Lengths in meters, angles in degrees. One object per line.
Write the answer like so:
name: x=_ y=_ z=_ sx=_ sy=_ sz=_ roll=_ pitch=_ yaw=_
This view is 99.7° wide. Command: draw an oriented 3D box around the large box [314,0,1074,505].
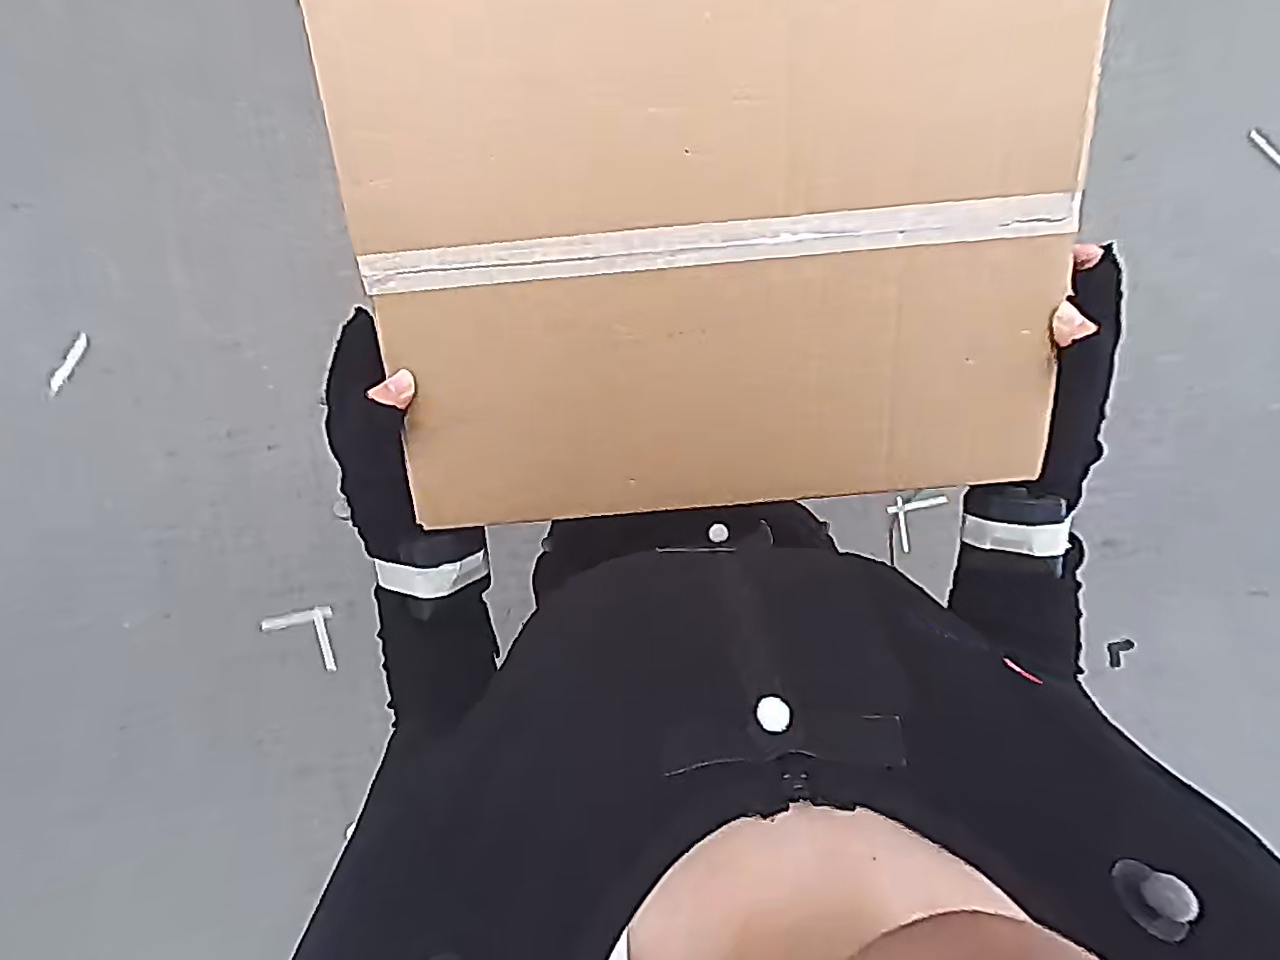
large box: x=0.034 y=-0.190 z=0.457 sx=0.408 sy=0.320 sz=0.320 roll=-5 pitch=109 yaw=-1
